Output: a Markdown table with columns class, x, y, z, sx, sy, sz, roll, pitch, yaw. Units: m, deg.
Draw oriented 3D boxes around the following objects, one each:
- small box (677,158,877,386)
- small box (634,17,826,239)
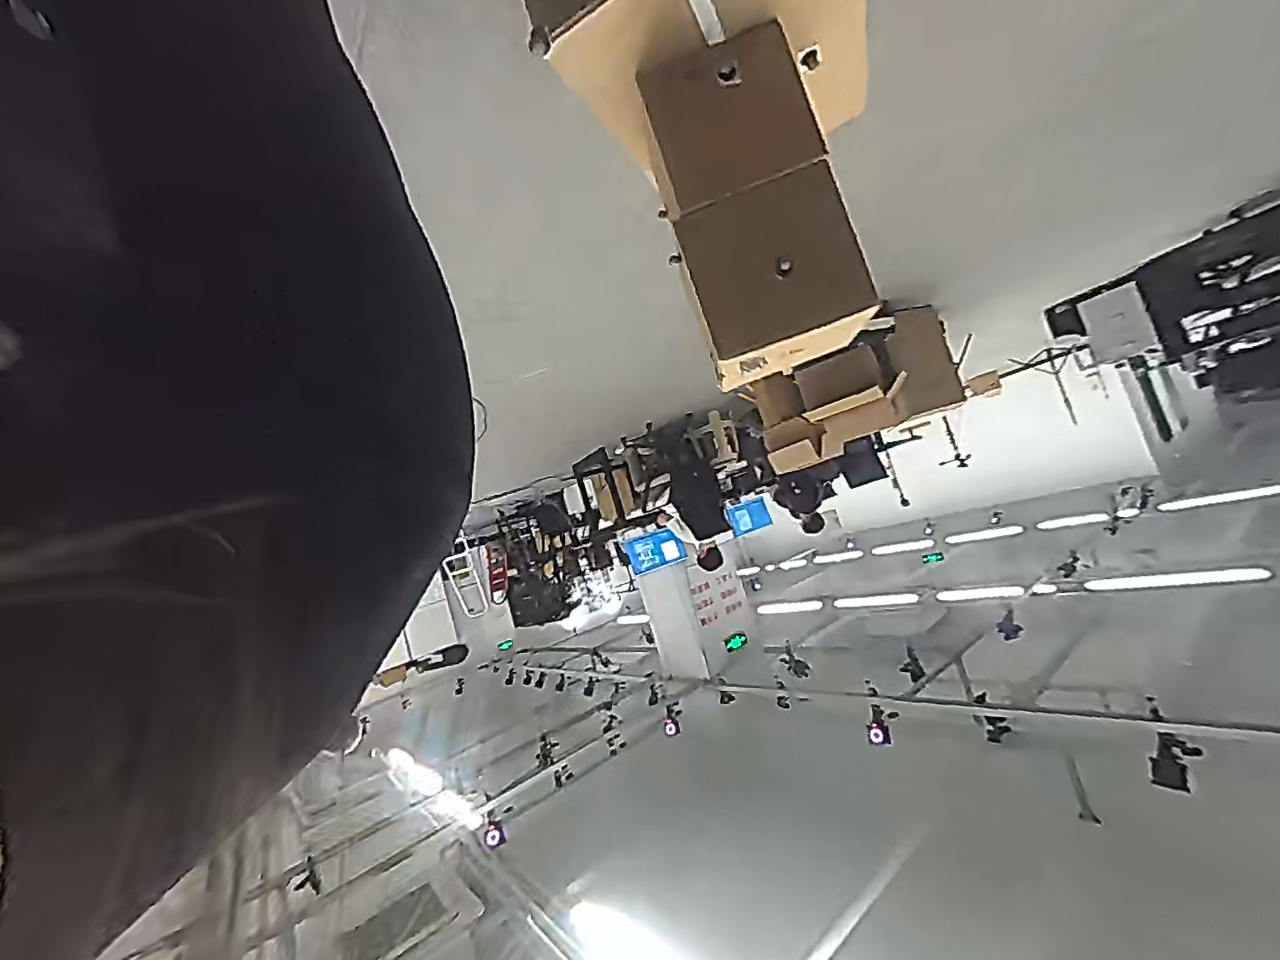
| class | x | y | z | sx | sy | sz | roll | pitch | yaw |
| --- | --- | --- | --- | --- | --- | --- | --- | --- | --- |
| small box | 0.150 | -0.232 | 0.641 | 0.179 | 0.176 | 0.168 | -19 | 176 | 12 |
| small box | 0.104 | -0.389 | 0.656 | 0.168 | 0.176 | 0.179 | -19 | 174 | 8 |
